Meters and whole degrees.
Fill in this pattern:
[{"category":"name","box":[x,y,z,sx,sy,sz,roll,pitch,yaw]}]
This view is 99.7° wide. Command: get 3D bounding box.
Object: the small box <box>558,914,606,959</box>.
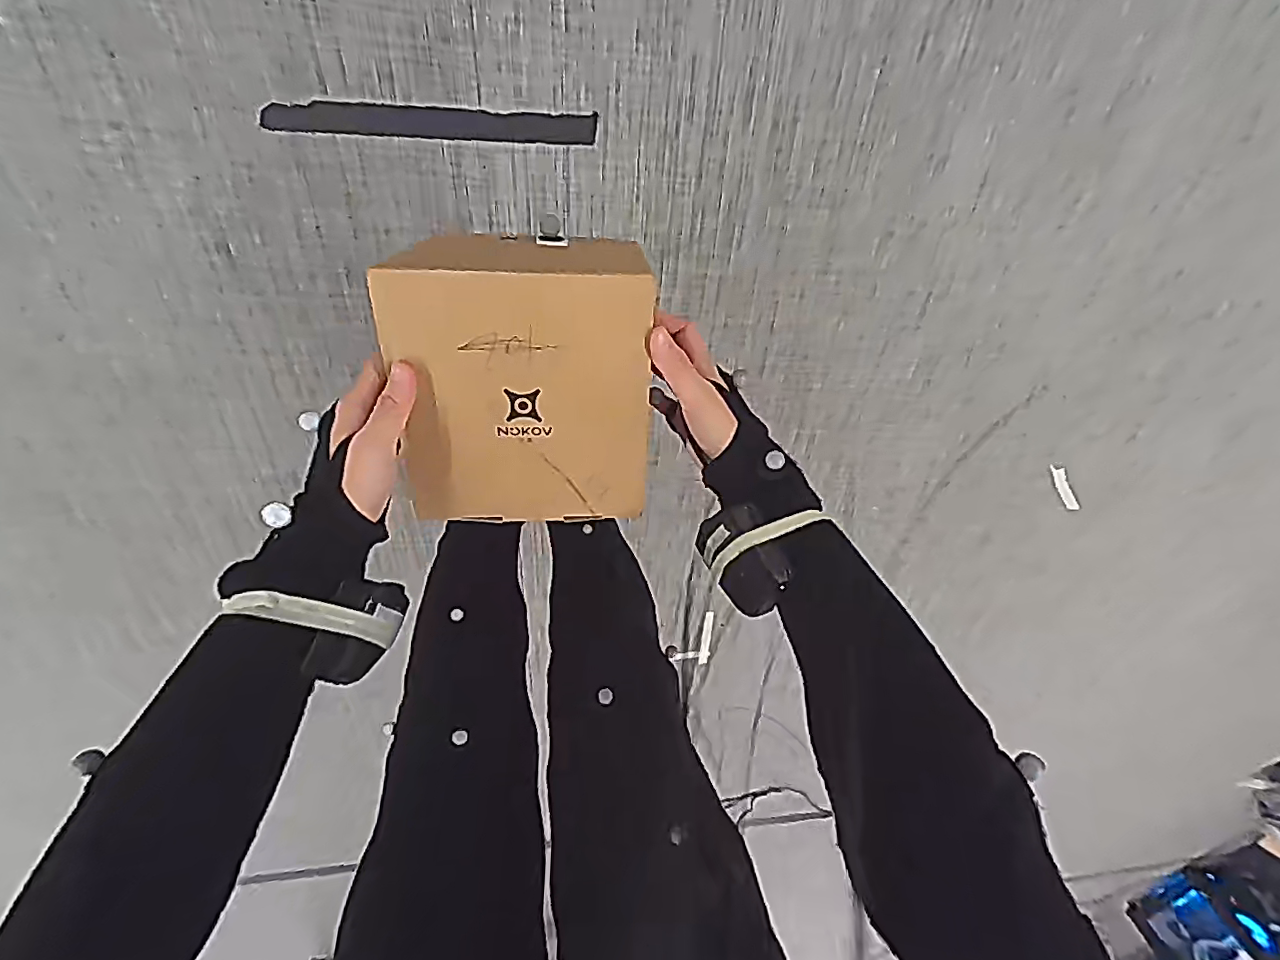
[{"category":"small box","box":[-0.210,1.700,1.949,0.168,0.176,0.179,-1,125,-9]}]
